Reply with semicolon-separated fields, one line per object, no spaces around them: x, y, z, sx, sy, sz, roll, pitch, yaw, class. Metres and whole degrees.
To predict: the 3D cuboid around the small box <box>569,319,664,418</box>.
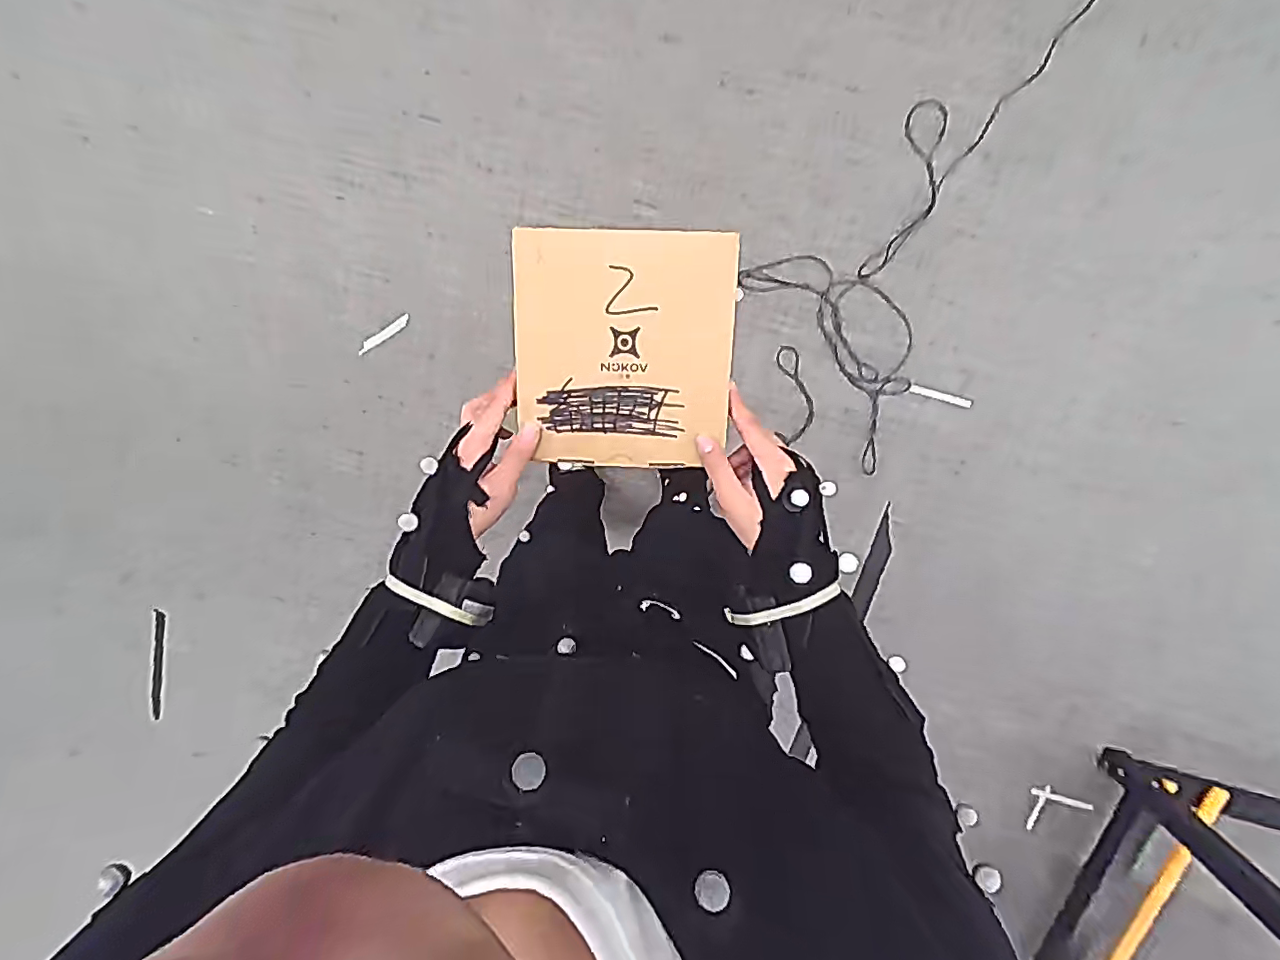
-0.046;-0.247;1.209;0.168;0.176;0.179;15;102;4;small box
